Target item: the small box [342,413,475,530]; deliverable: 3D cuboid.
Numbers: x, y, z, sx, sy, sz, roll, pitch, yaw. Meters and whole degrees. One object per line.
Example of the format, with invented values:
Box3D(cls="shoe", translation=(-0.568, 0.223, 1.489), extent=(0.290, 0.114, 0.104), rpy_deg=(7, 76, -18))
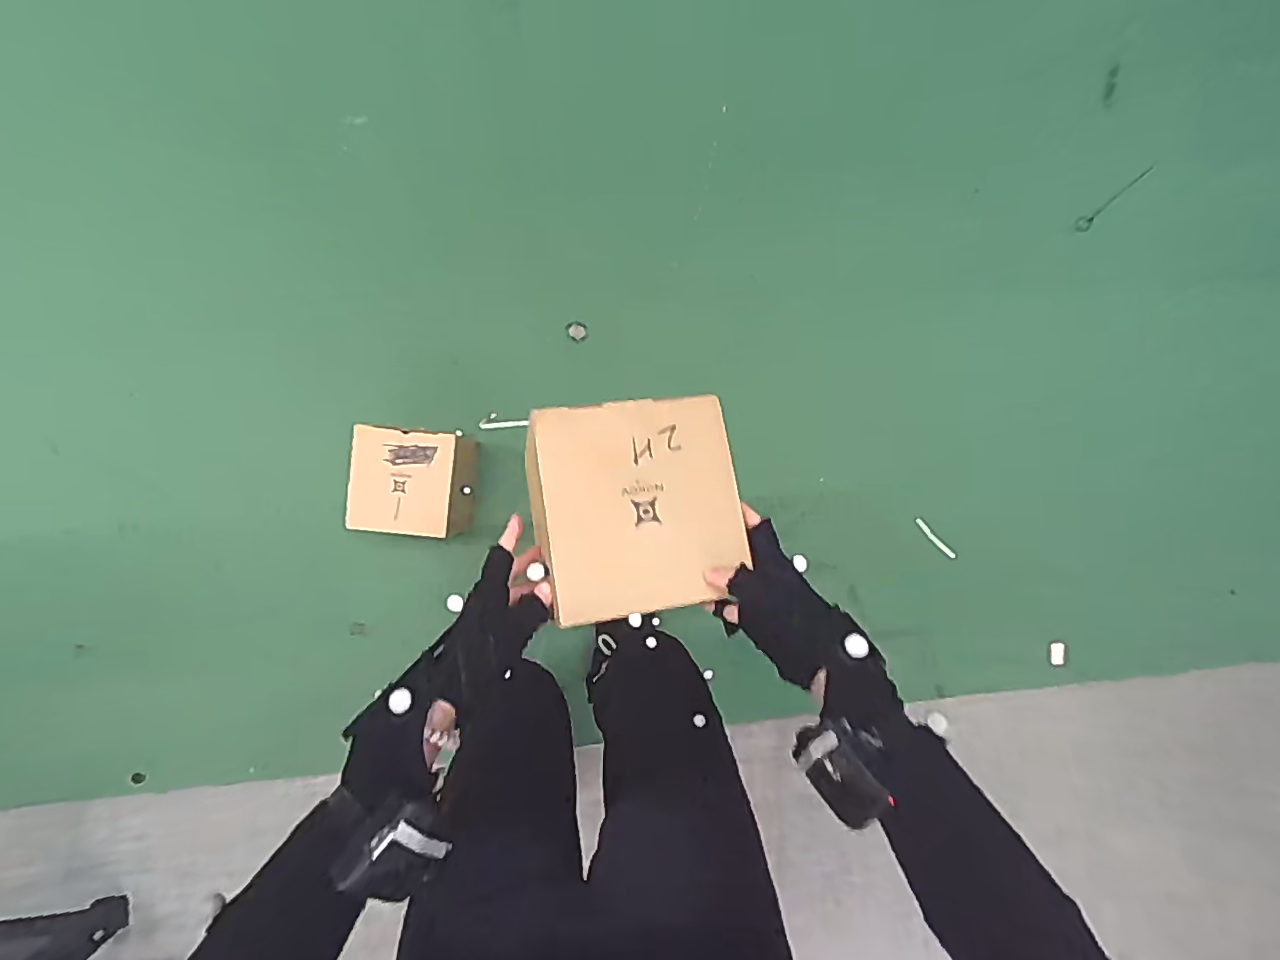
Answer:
Box3D(cls="small box", translation=(-0.400, -0.015, 0.961), extent=(0.168, 0.176, 0.179), rpy_deg=(7, 91, -5))
